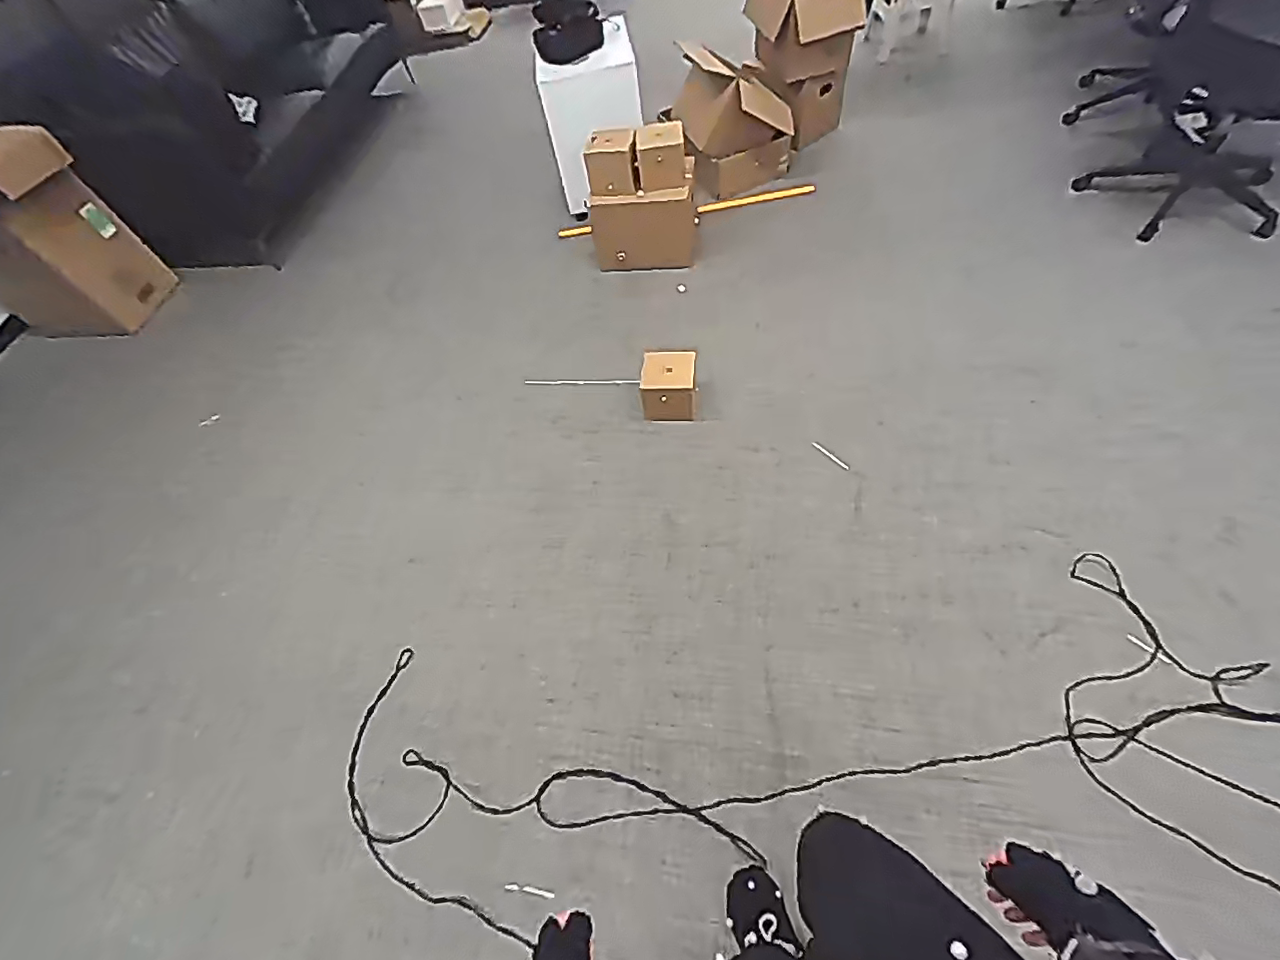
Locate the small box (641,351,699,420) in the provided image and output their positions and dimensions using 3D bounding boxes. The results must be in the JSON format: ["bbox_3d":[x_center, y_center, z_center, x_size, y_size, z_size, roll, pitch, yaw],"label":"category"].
[{"bbox_3d":[0.107,-0.318,1.831,0.179,0.176,0.168,1,58,10],"label":"small box"}]
